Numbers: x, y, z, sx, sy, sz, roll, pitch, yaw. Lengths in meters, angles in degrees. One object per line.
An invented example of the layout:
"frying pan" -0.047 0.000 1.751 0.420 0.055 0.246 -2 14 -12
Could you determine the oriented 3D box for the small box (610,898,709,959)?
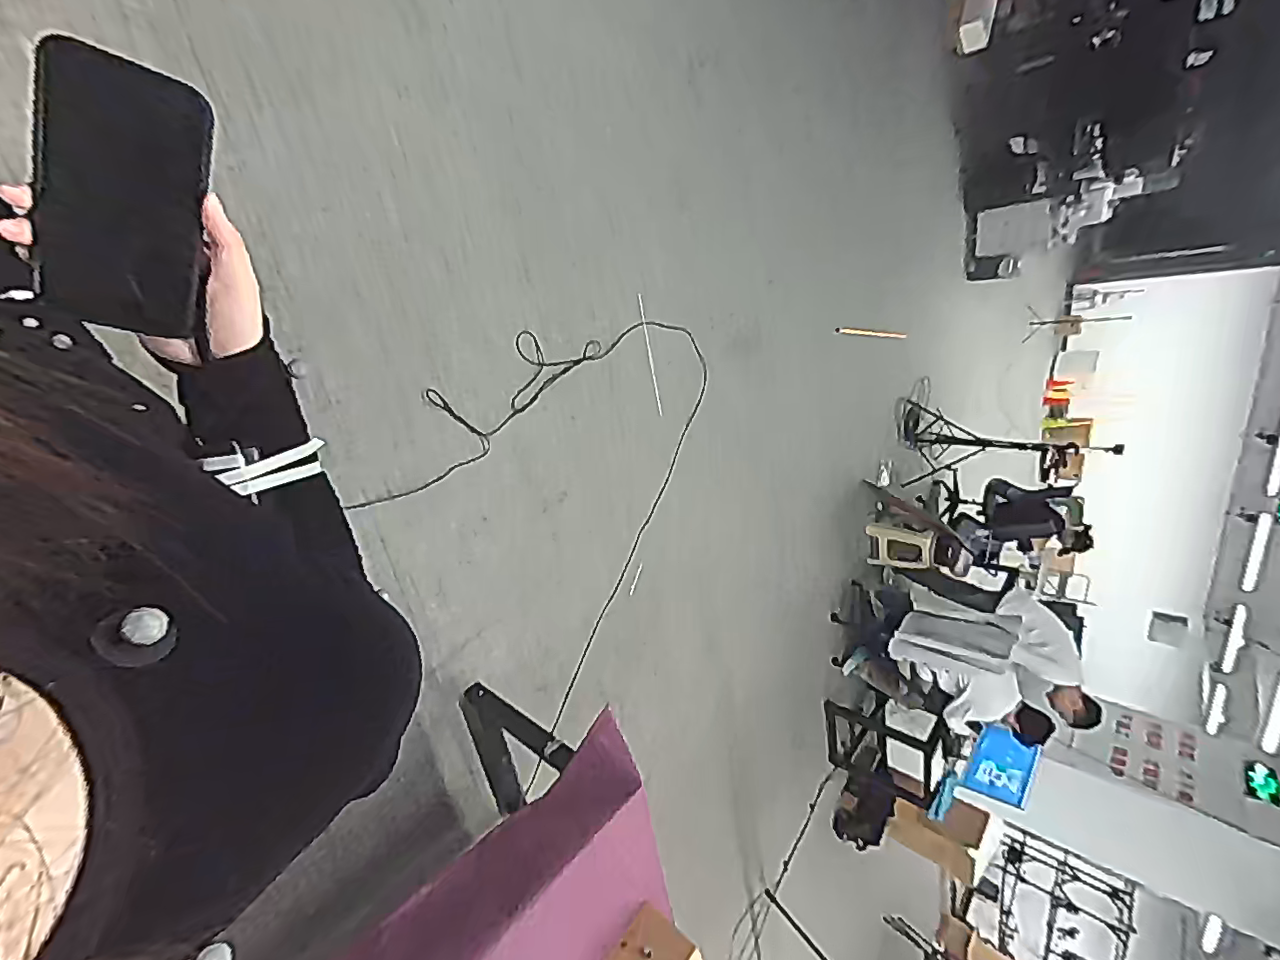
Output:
"small box" 0.050 1.159 1.296 0.168 0.176 0.179 -33 119 -36
